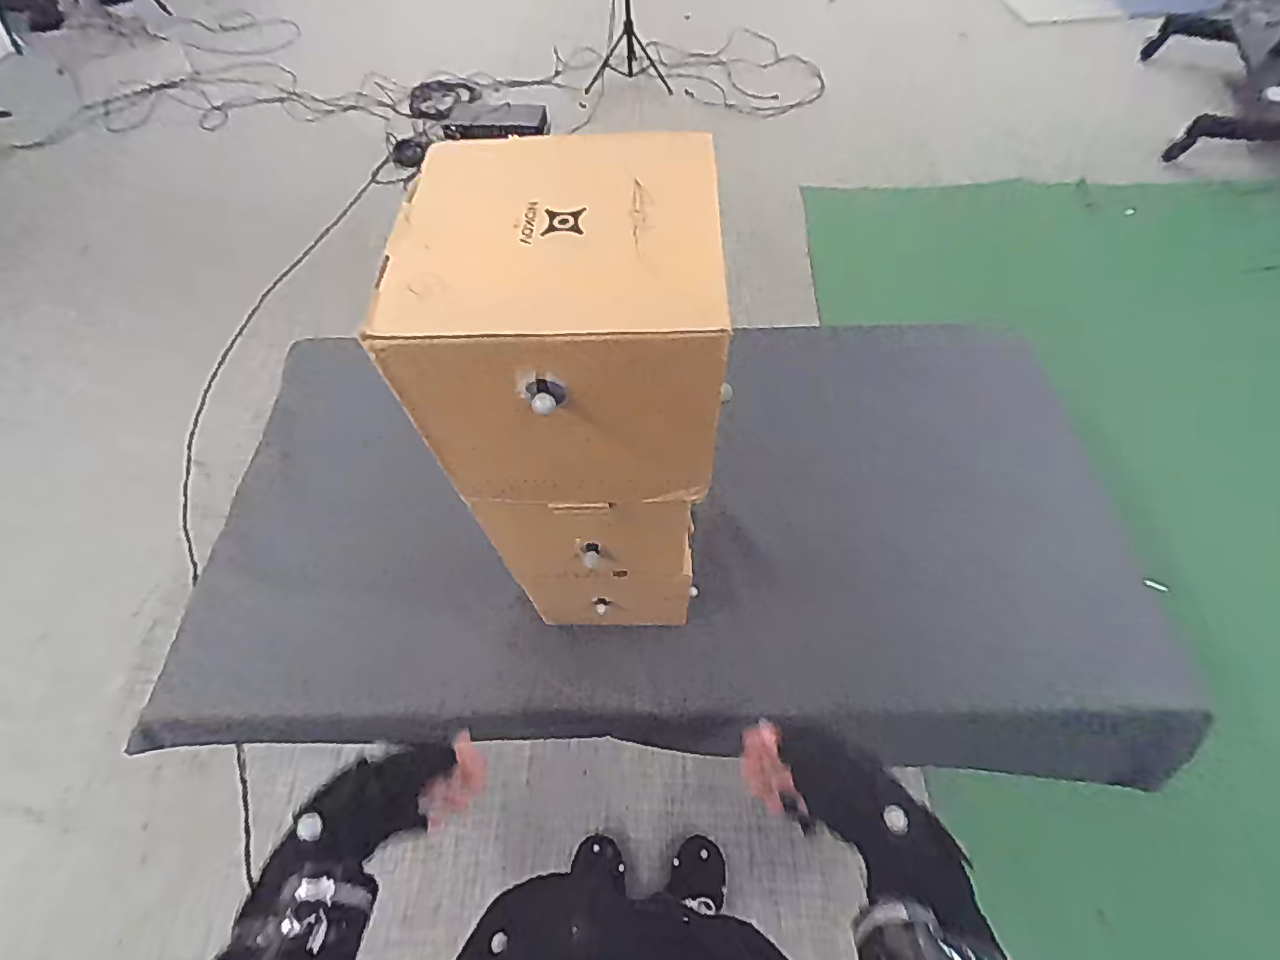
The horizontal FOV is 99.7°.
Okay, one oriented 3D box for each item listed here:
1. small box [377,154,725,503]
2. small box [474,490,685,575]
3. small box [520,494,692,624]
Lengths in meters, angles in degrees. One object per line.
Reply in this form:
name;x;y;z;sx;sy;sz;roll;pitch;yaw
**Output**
small box;-0.041;-0.092;0.372;0.179;0.176;0.168;0;60;1
small box;-0.042;-0.015;0.515;0.168;0.176;0.179;-2;59;1
small box;-0.031;0.070;0.654;0.179;0.176;0.168;-1;59;3
